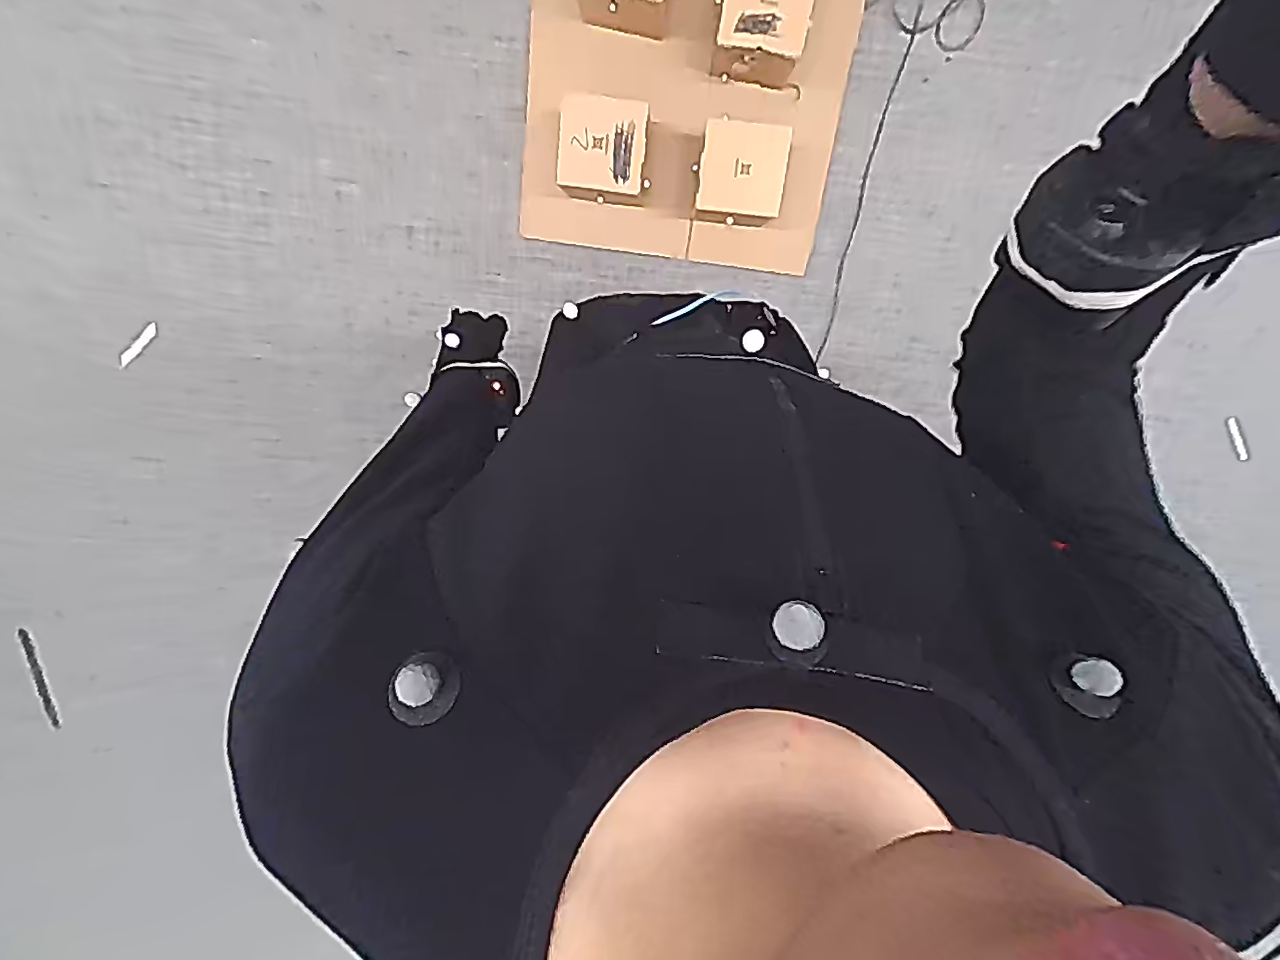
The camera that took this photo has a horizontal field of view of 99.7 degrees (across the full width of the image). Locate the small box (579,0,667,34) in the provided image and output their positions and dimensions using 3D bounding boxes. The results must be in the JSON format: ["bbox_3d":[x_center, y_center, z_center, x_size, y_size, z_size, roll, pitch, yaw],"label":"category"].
[{"bbox_3d":[-0.027,-1.011,1.050,0.179,0.176,0.168,12,110,-3],"label":"small box"}]

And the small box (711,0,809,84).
[{"bbox_3d":[0.239,-0.928,1.078,0.168,0.176,0.179,11,109,-1],"label":"small box"}]
